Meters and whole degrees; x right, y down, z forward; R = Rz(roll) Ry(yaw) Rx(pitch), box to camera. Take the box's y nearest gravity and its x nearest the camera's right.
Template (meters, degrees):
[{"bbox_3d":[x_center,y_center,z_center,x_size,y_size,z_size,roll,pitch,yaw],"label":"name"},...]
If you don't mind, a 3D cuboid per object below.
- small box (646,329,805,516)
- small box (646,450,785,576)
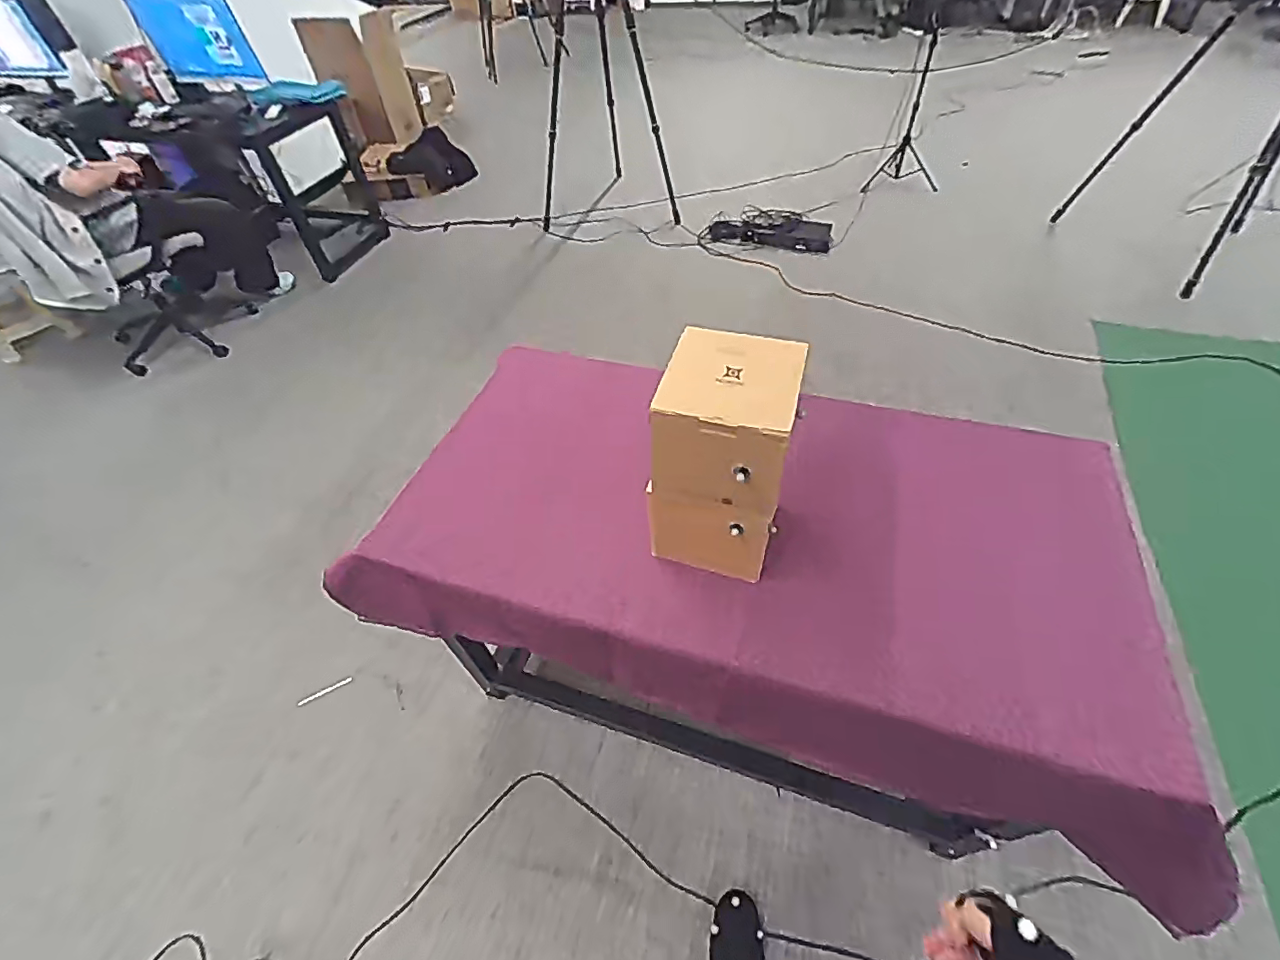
[{"bbox_3d":[0.115,-0.076,0.730,0.168,0.176,0.179,13,50,14],"label":"small box"},{"bbox_3d":[0.119,0.029,0.855,0.179,0.176,0.168,13,51,15],"label":"small box"}]
